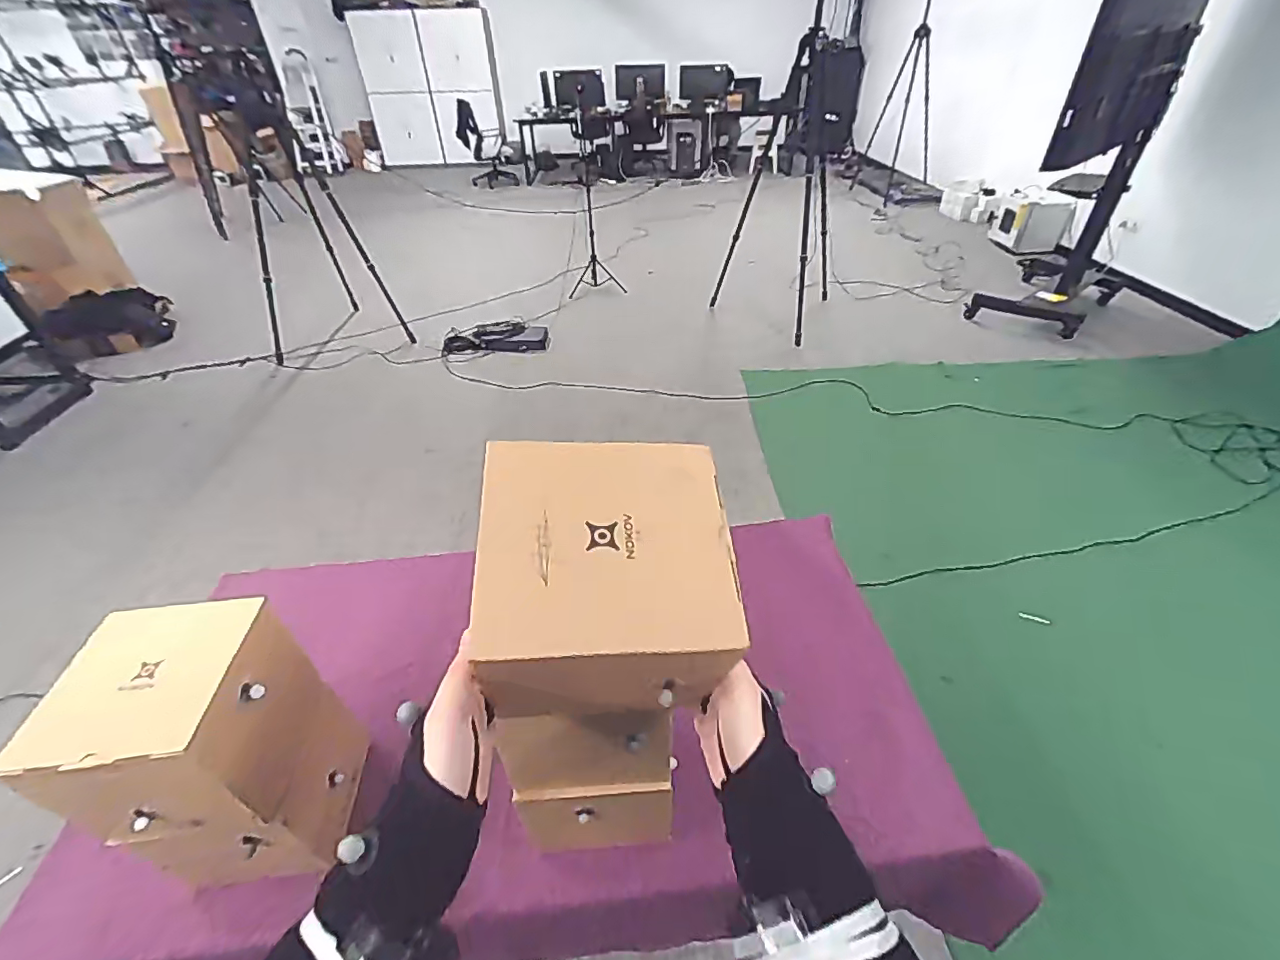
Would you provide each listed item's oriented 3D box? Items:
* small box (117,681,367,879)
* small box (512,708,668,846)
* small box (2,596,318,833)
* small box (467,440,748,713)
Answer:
[{"bbox_3d":[-0.480,0.383,0.693,0.179,0.176,0.168,-5,39,-4],"label":"small box"},{"bbox_3d":[-0.057,0.356,0.707,0.179,0.176,0.168,-3,40,-2],"label":"small box"},{"bbox_3d":[-0.487,0.253,0.593,0.168,0.176,0.179,-5,40,-4],"label":"small box"},{"bbox_3d":[-0.031,0.085,0.438,0.179,0.176,0.168,1,56,-8],"label":"small box"}]
